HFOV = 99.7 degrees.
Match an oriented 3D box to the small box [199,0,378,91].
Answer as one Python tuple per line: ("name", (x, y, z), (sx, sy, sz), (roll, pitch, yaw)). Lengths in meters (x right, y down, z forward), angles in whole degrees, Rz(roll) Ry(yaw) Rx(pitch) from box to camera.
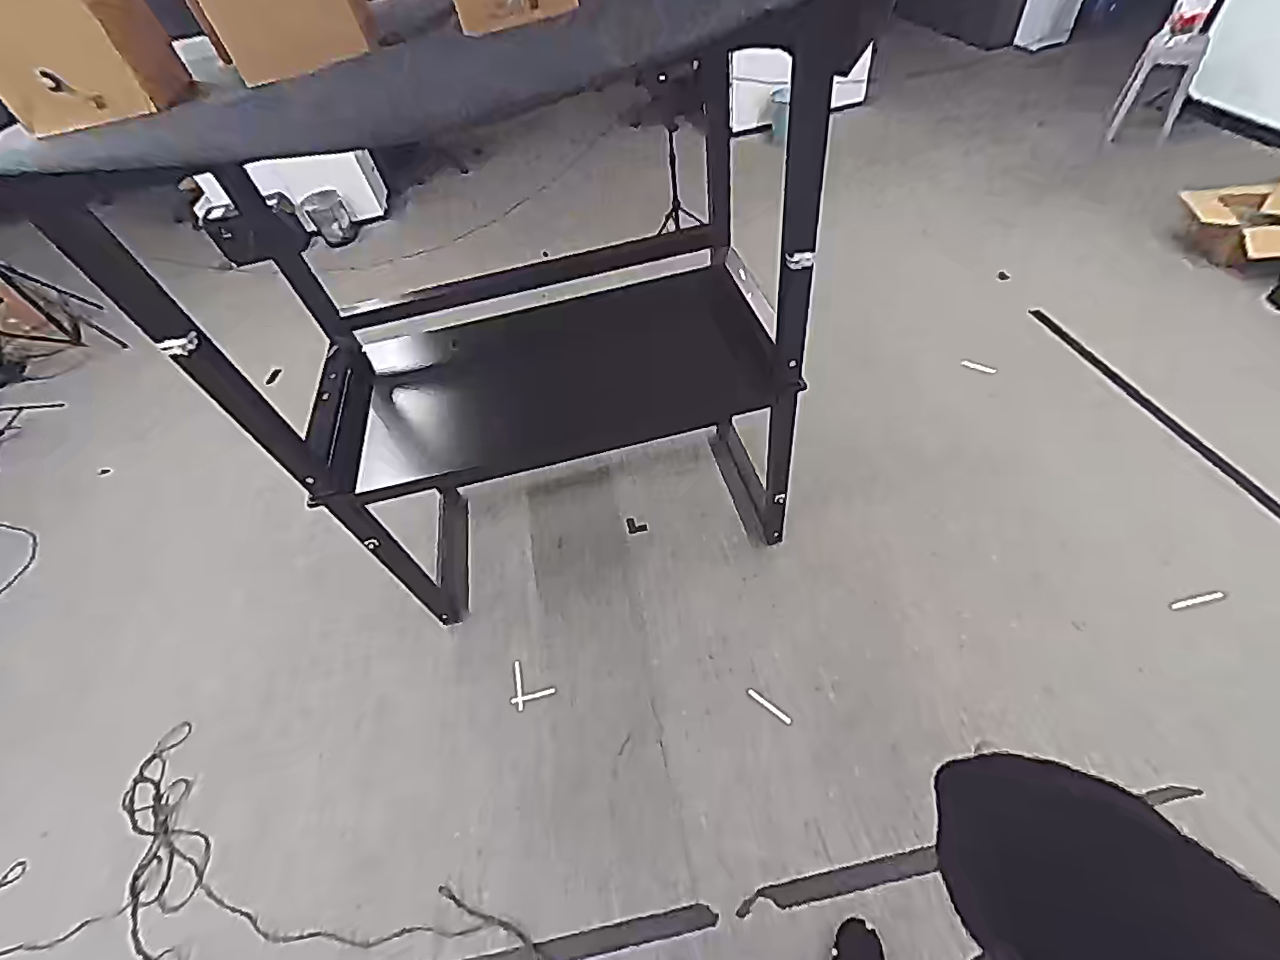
("small box", (-0.482, -0.661, 0.738), (0.179, 0.176, 0.168), (-15, 48, -5))

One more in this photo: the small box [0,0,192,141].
("small box", (-0.753, -0.582, 0.720), (0.168, 0.176, 0.179), (-17, 51, -4))
